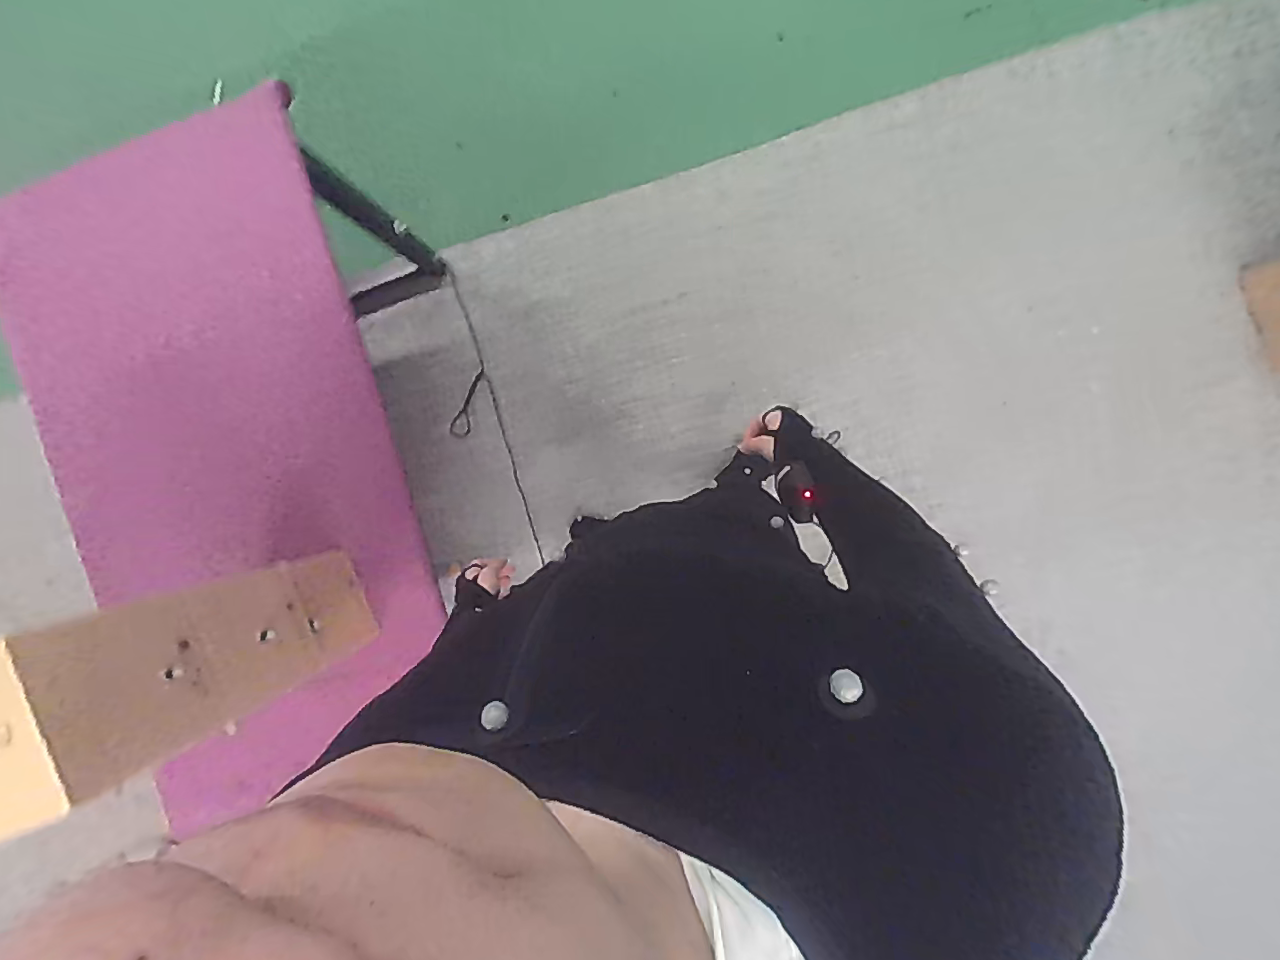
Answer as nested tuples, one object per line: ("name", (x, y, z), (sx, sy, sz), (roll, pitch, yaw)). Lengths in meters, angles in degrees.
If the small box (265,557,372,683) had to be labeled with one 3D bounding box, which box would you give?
("small box", (-0.577, 0.240, 0.867), (0.179, 0.176, 0.168), (-23, 92, 5))
